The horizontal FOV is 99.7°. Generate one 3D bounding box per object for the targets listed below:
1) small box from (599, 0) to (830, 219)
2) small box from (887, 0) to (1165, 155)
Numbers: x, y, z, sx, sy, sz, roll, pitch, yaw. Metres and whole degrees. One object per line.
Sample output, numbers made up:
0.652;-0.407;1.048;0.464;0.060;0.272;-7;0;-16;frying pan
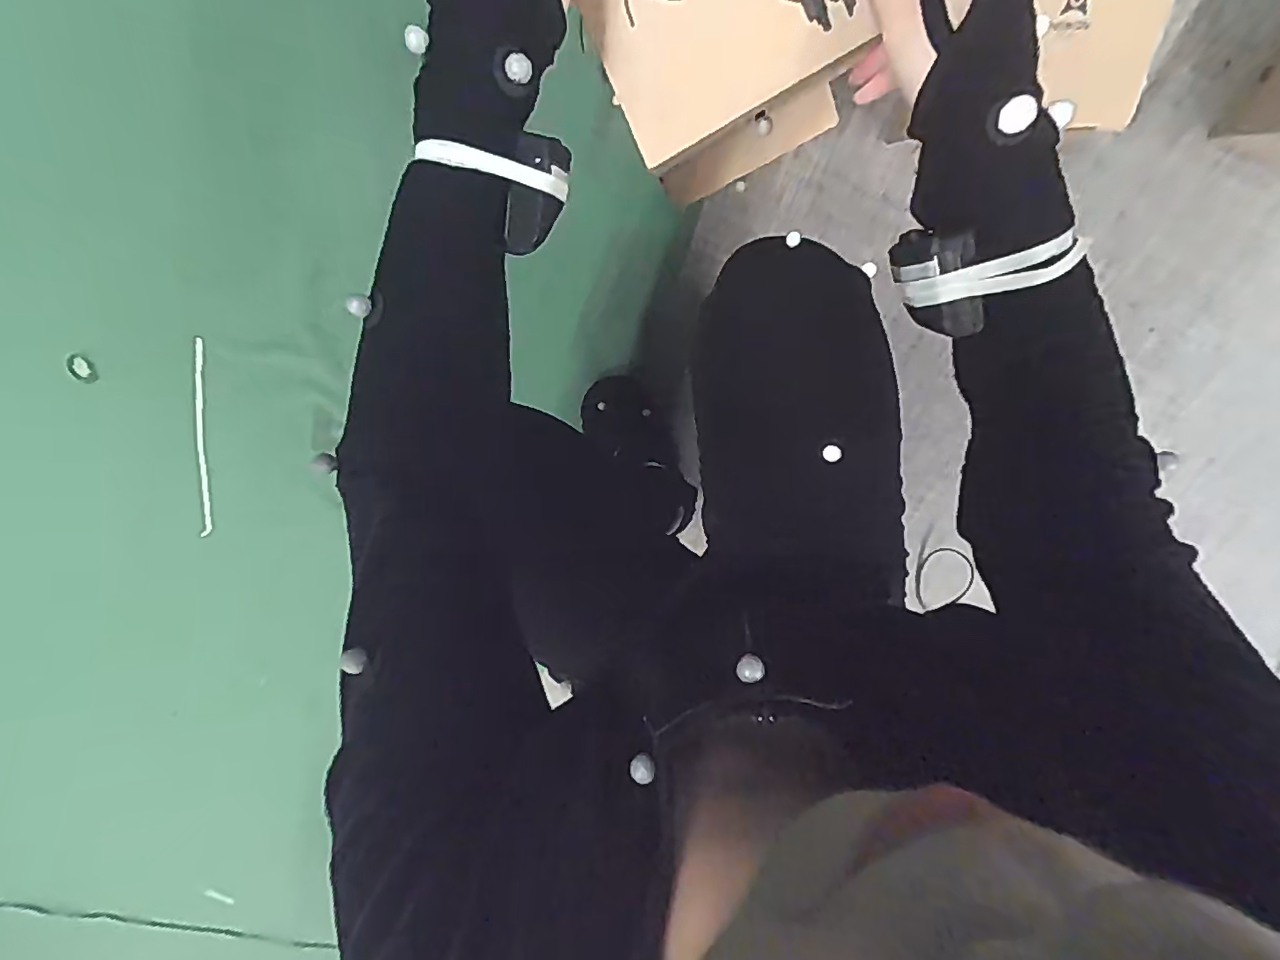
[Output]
0.076;-0.400;0.580;0.179;0.176;0.168;-23;114;13;small box
0.372;-0.435;0.548;0.168;0.176;0.179;2;118;2;small box
